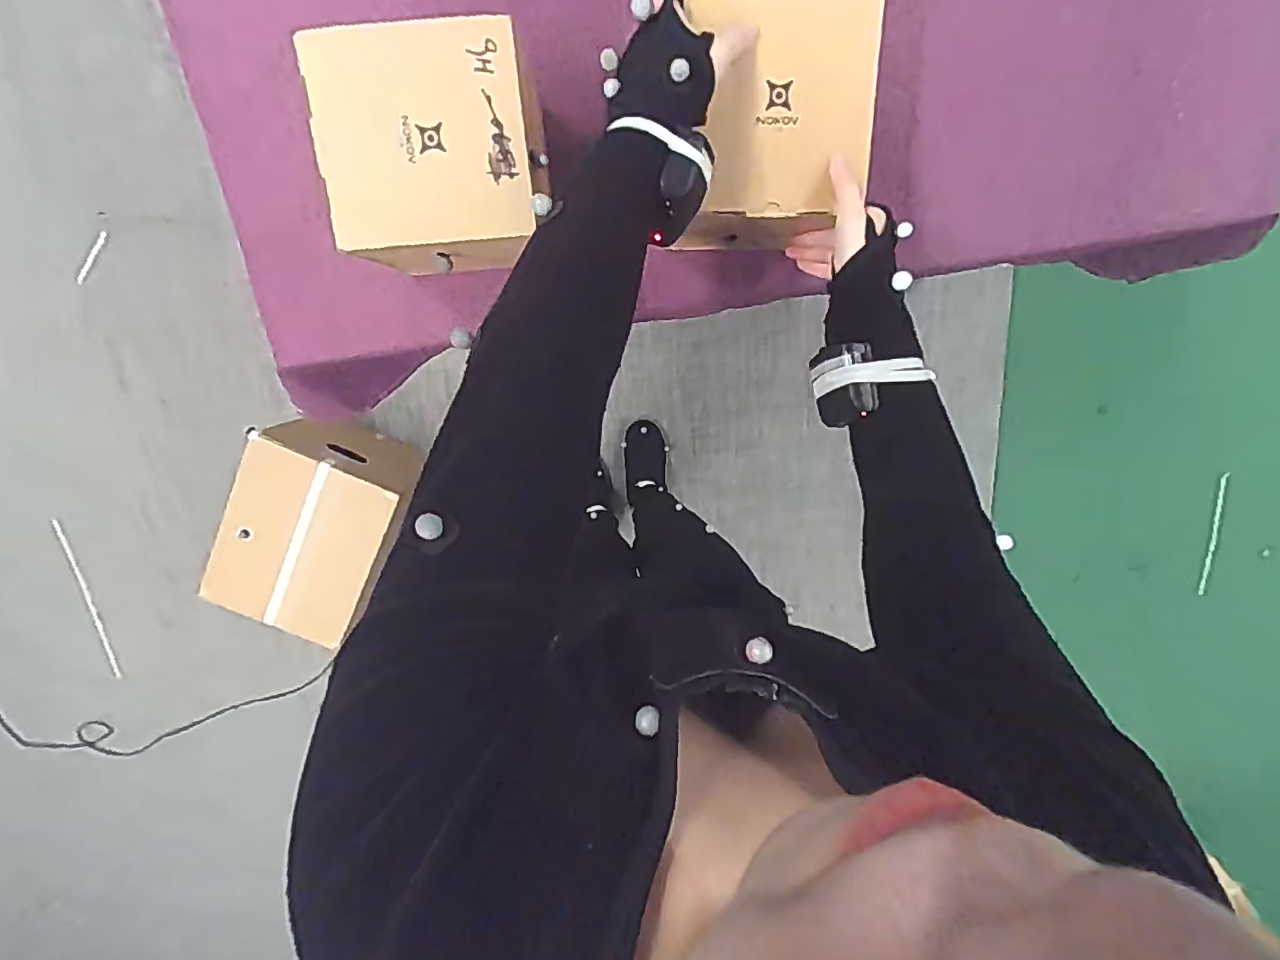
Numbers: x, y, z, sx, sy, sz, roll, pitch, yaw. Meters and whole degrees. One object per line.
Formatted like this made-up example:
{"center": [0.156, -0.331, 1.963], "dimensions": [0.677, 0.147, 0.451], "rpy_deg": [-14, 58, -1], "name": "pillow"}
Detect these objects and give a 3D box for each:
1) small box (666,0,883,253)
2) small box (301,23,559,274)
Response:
{"center": [0.114, -0.332, 0.535], "dimensions": [0.168, 0.176, 0.179], "rpy_deg": [0, 105, -2], "name": "small box"}
{"center": [-0.183, -0.302, 0.530], "dimensions": [0.179, 0.176, 0.168], "rpy_deg": [-5, 105, -1], "name": "small box"}
